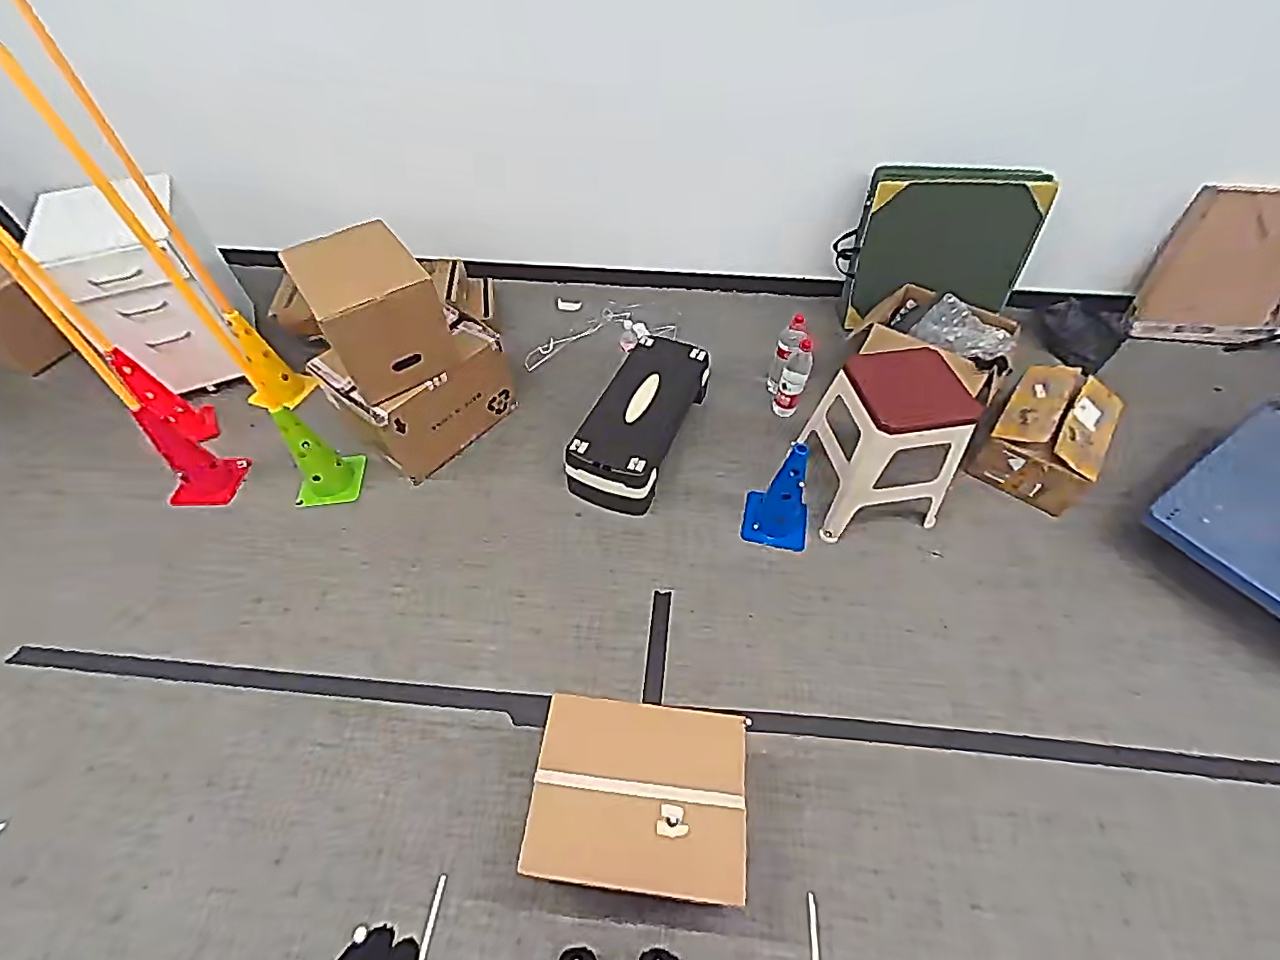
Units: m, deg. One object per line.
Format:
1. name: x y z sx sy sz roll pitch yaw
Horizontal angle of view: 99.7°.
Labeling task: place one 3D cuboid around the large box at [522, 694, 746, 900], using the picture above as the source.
1. large box: -0.004 0.681 1.154 0.408 0.320 0.320 6 53 3
